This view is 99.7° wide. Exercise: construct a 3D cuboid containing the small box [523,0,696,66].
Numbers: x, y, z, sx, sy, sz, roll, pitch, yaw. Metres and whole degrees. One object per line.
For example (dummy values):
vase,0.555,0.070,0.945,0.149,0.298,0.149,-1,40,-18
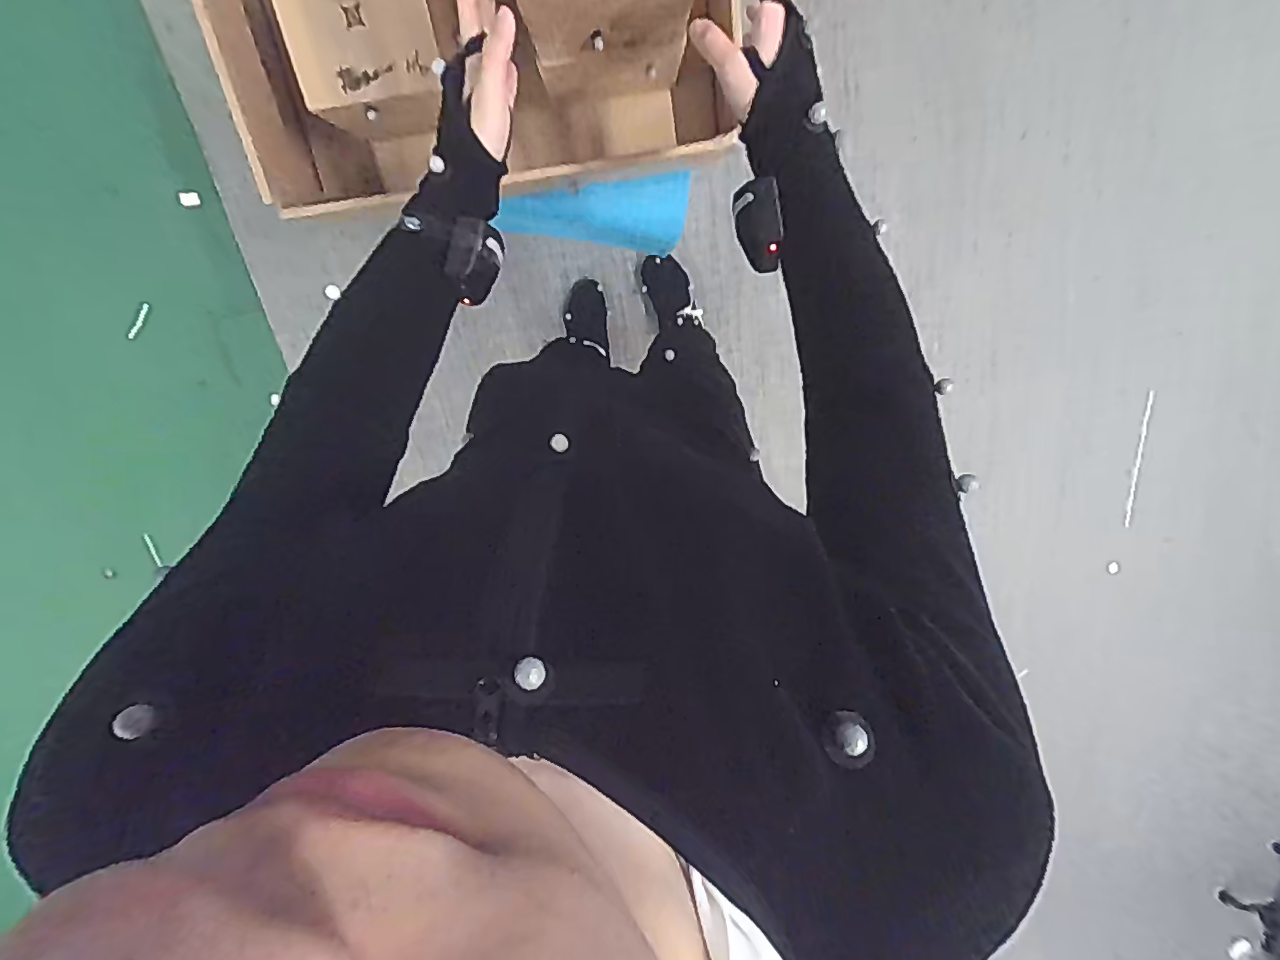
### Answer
small box,-0.039,-0.534,0.511,0.168,0.176,0.179,-7,111,1
